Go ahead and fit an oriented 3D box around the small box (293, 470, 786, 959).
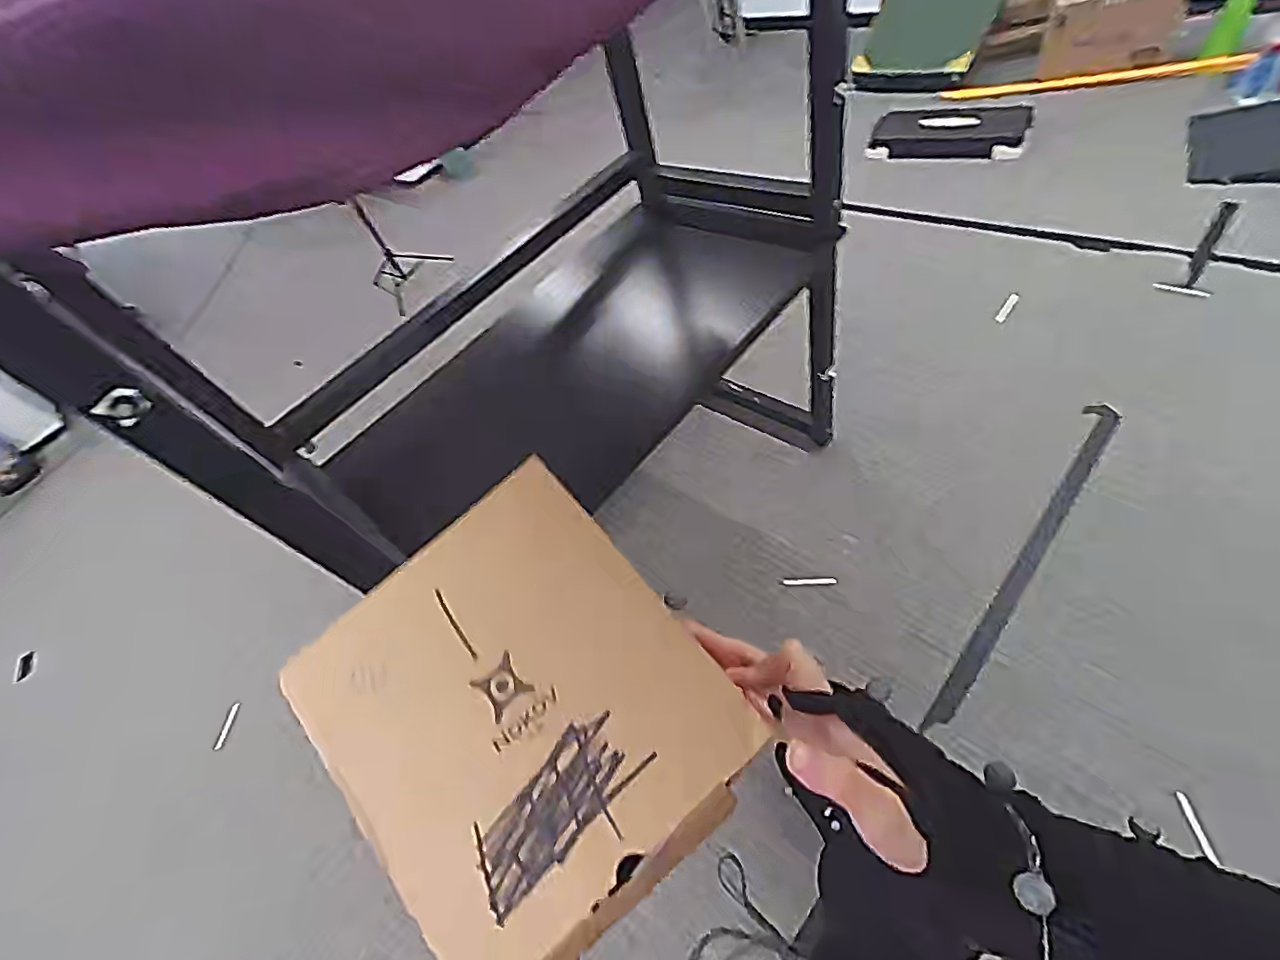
[{"bbox_3d":[-0.044,0.127,0.322,0.168,0.176,0.179,-41,74,-8],"label":"small box"}]
